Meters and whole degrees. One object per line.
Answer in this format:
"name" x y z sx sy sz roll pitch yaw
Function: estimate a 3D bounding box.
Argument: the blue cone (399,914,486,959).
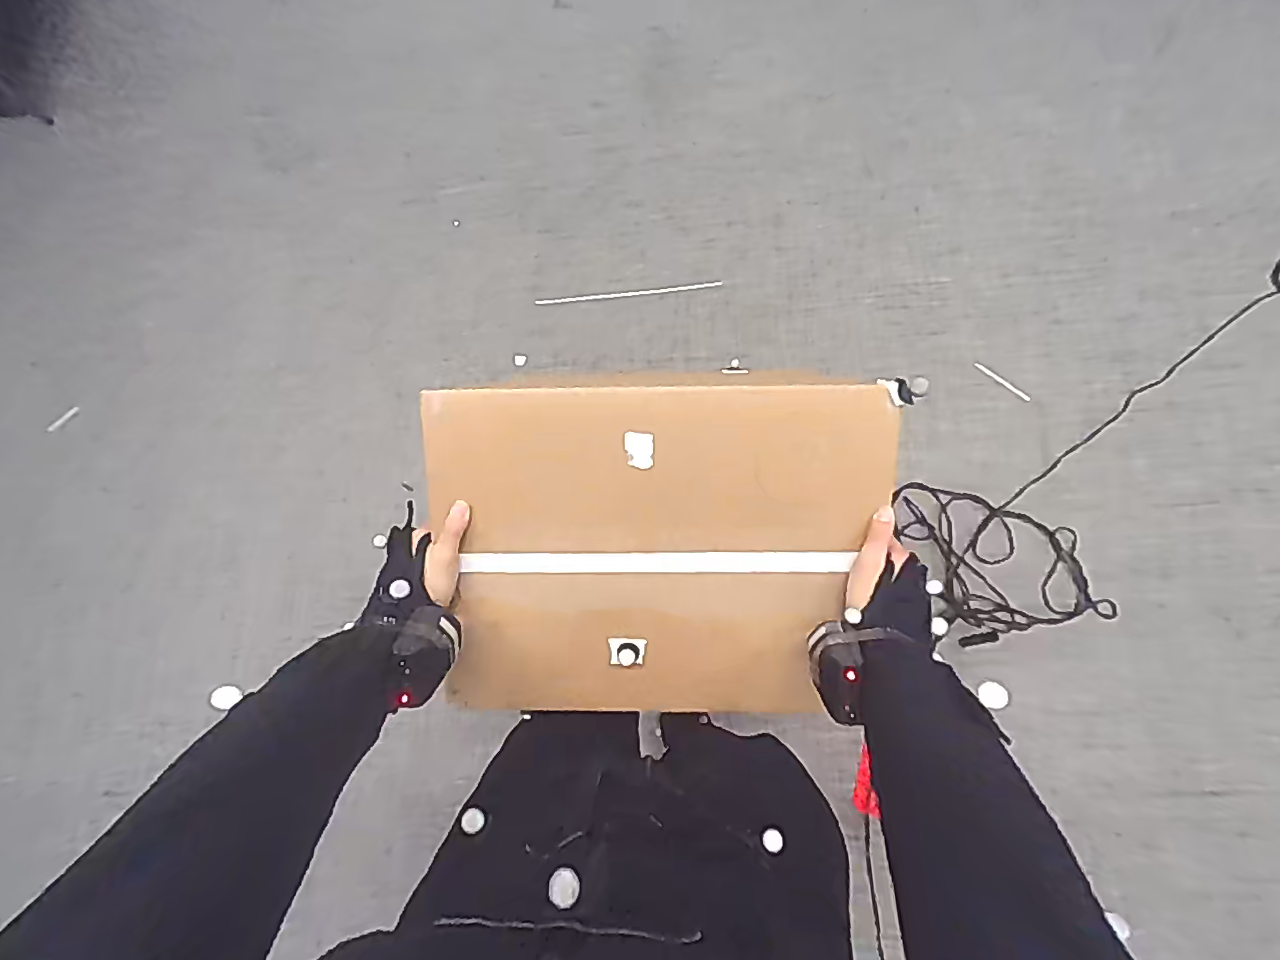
"blue cone" -0.421 0.953 0.936 0.192 0.380 0.193 -3 77 6

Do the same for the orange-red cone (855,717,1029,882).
"orange-red cone" 0.530 0.562 0.908 0.199 0.360 0.198 17 81 8
